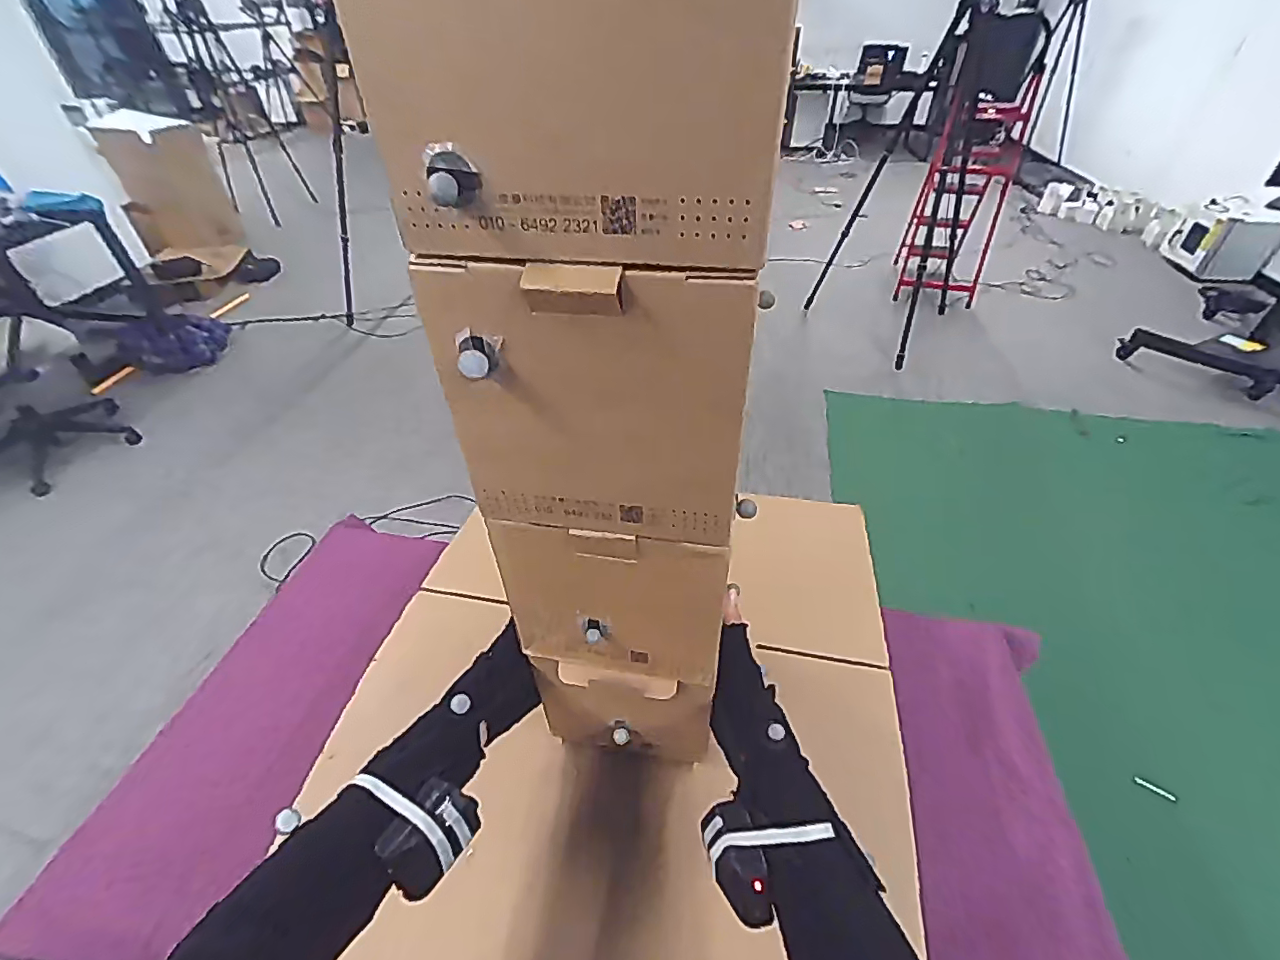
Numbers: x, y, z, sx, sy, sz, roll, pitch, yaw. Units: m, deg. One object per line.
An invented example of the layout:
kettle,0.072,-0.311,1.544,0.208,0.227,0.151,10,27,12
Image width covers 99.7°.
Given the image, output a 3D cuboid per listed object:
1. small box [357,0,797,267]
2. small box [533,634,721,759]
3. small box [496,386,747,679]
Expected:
small box,-0.012,-0.212,0.257,0.168,0.176,0.179,7,40,9
small box,0.002,0.163,0.576,0.168,0.176,0.179,6,42,10
small box,-0.003,0.040,0.469,0.168,0.176,0.179,6,42,9
